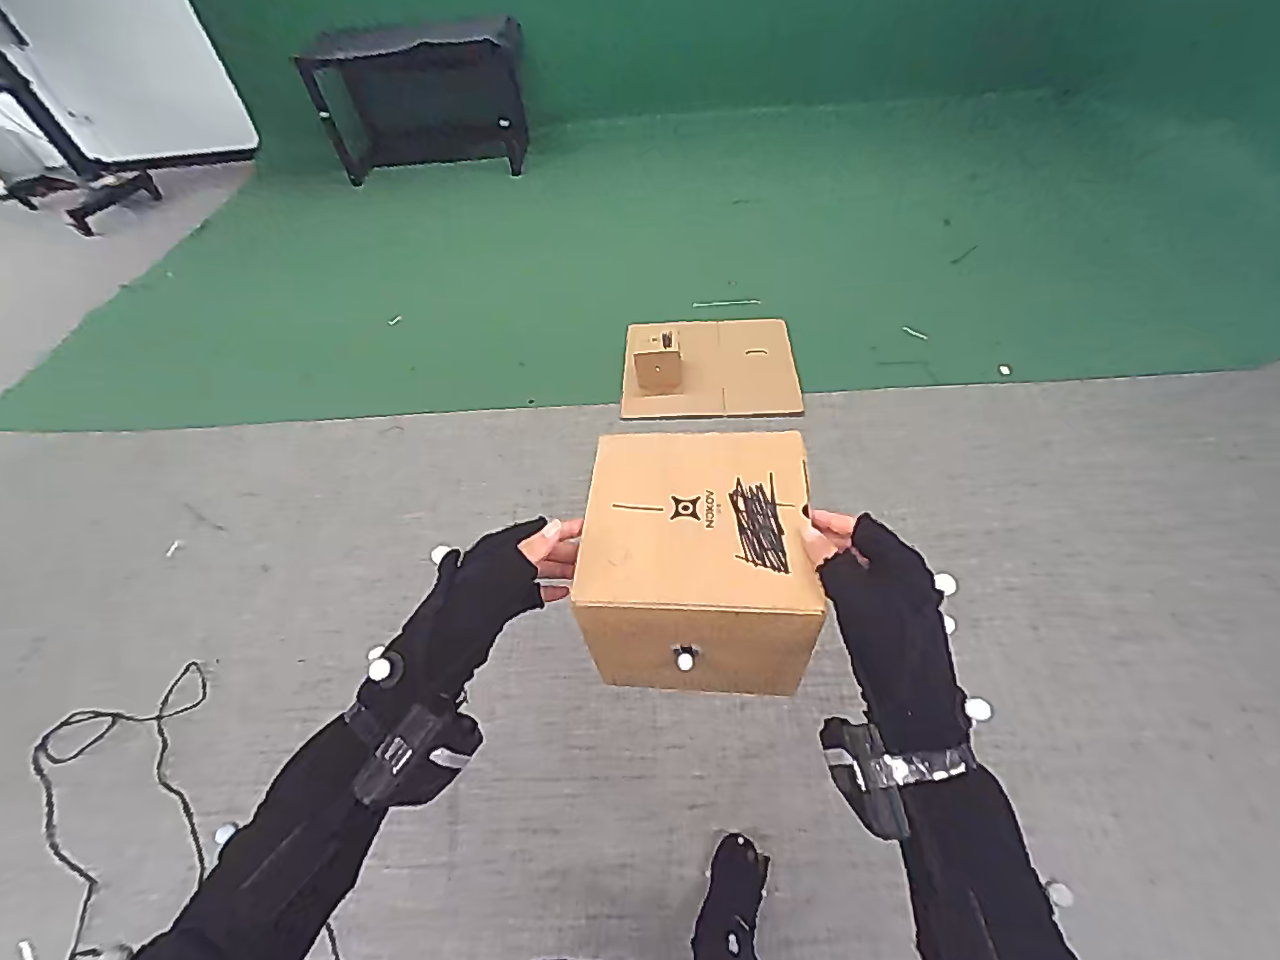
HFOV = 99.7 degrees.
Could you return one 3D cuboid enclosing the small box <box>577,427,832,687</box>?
[{"bbox_3d":[0.056,0.071,0.477,0.179,0.176,0.168,1,50,8],"label":"small box"}]
